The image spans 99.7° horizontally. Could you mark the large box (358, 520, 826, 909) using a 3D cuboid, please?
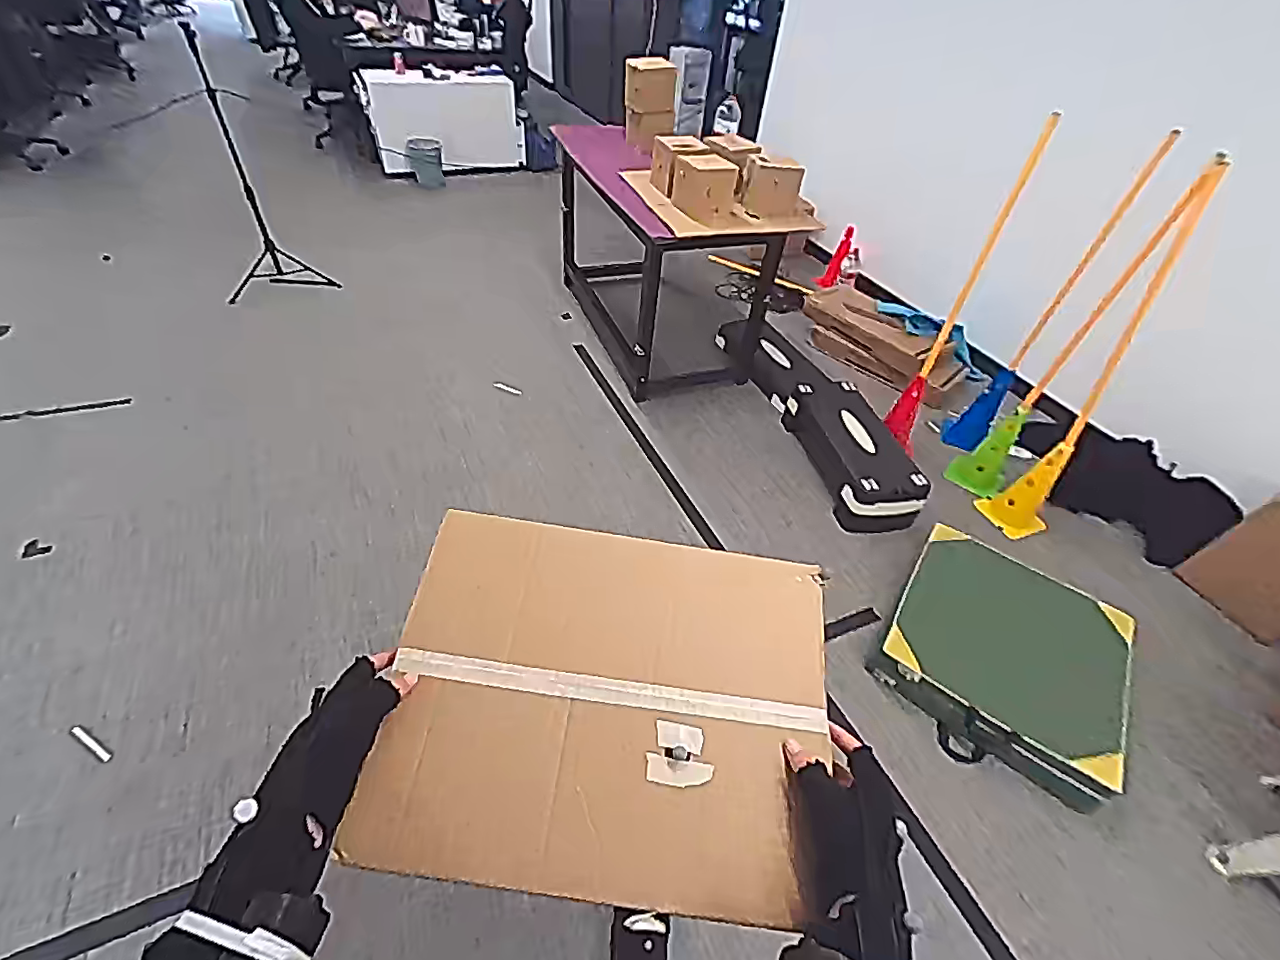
[{"bbox_3d":[-0.037,0.275,0.652,0.408,0.320,0.320,9,61,-1],"label":"large box"}]
